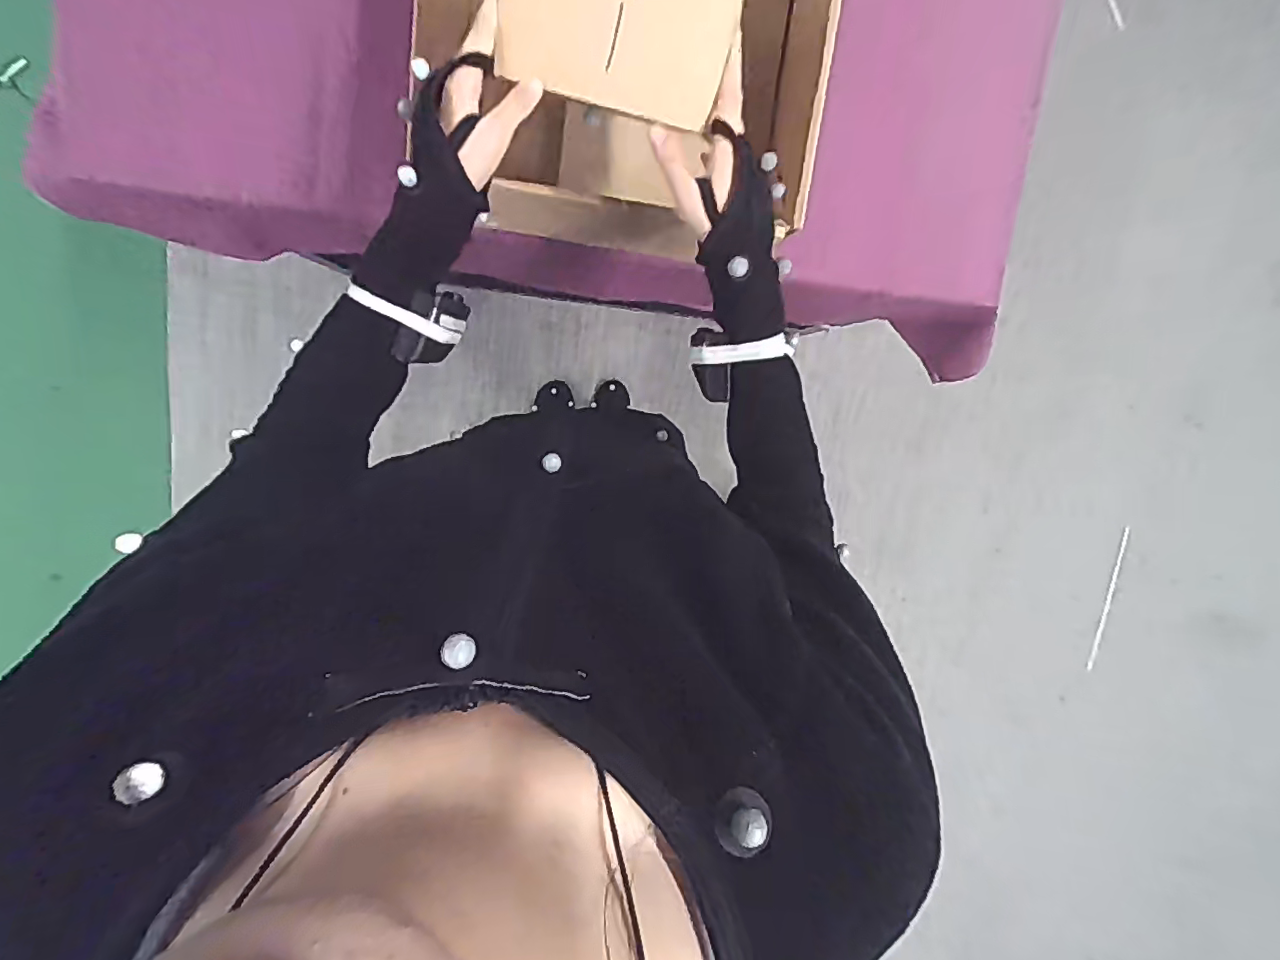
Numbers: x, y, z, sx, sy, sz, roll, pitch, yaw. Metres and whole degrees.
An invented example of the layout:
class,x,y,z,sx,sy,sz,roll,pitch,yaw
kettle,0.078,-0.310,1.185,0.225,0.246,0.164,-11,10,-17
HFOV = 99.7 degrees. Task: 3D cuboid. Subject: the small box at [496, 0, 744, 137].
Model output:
class,x,y,z,sx,sy,sz,roll,pitch,yaw
small box,-0.013,-0.394,0.425,0.168,0.176,0.179,9,123,-12
